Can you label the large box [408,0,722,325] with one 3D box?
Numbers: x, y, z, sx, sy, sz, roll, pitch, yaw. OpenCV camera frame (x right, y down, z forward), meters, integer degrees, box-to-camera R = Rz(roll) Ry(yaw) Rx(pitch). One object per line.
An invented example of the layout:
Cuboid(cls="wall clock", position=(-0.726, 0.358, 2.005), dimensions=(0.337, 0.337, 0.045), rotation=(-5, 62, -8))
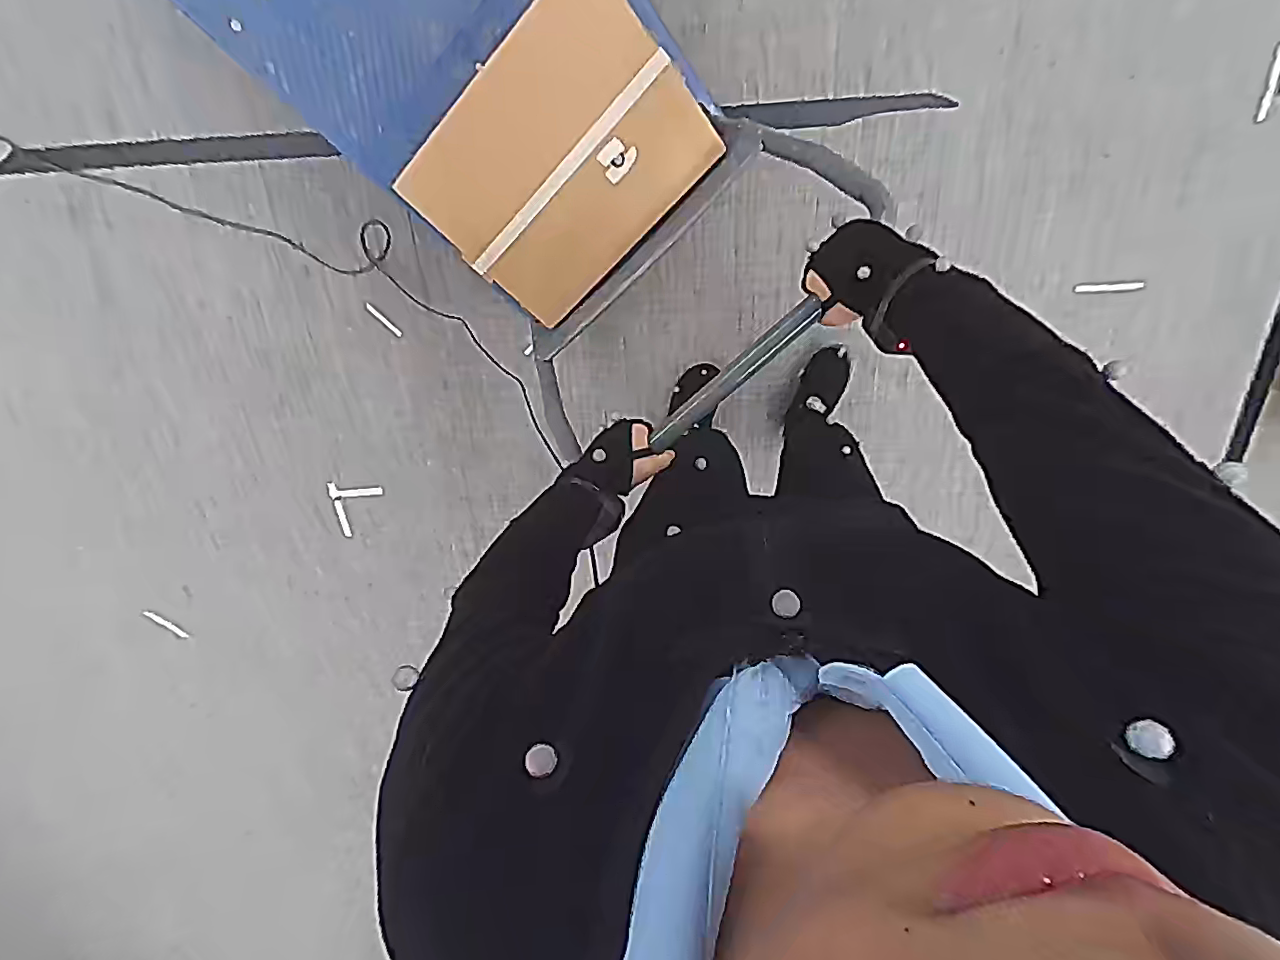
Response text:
Cuboid(cls="large box", position=(-0.137, -0.561, 0.946), dimensions=(0.408, 0.320, 0.320), rotation=(-42, 124, 17))
